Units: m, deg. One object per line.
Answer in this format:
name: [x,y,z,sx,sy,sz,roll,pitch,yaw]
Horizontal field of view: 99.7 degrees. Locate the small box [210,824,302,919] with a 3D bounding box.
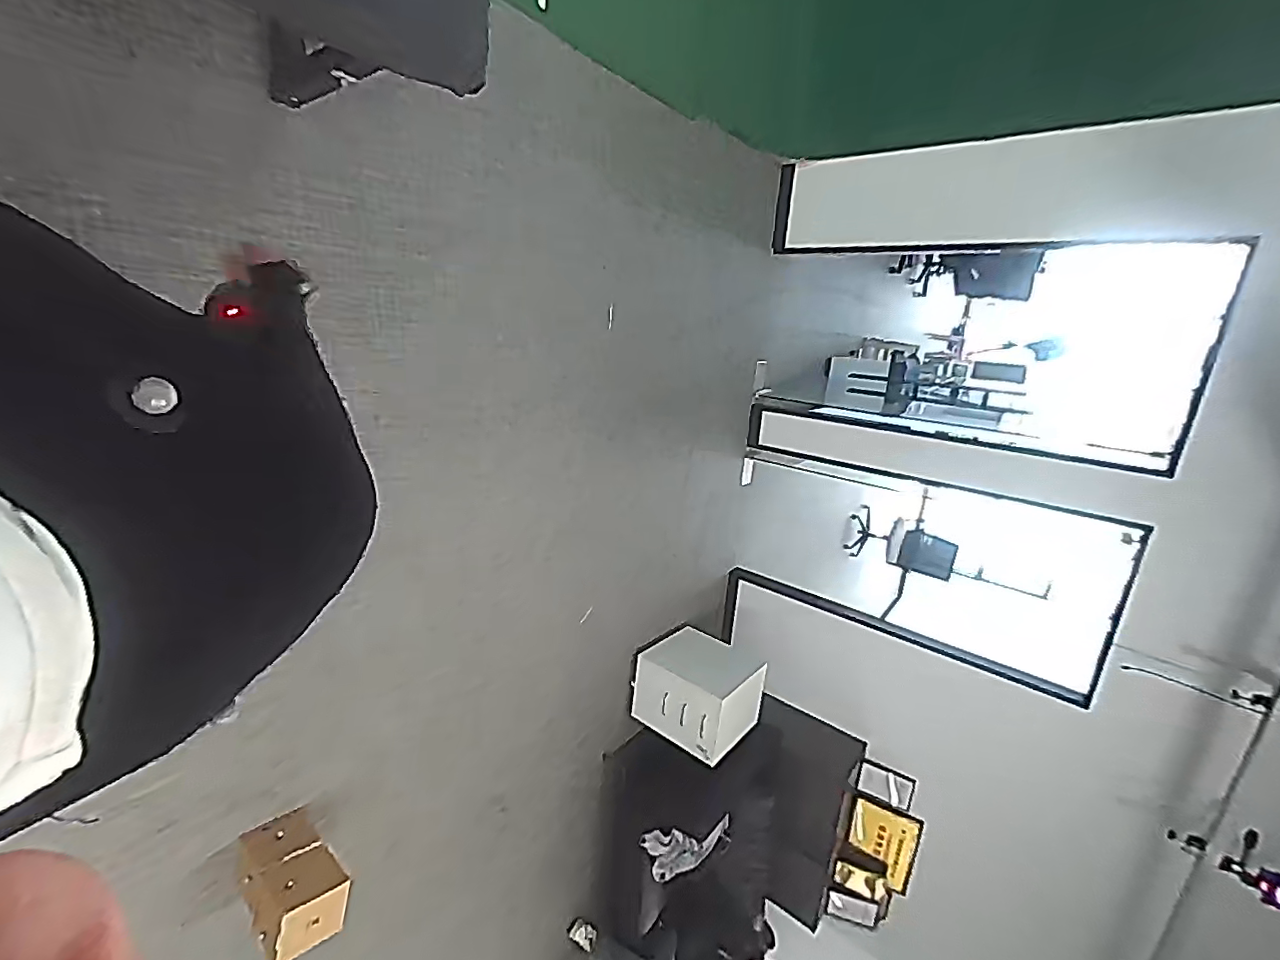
small box: [-1.102,1.158,1.583,0.179,0.176,0.168,-42,136,-39]

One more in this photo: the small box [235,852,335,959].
small box: [-0.981,1.188,1.491,0.179,0.176,0.168,4,102,-56]
